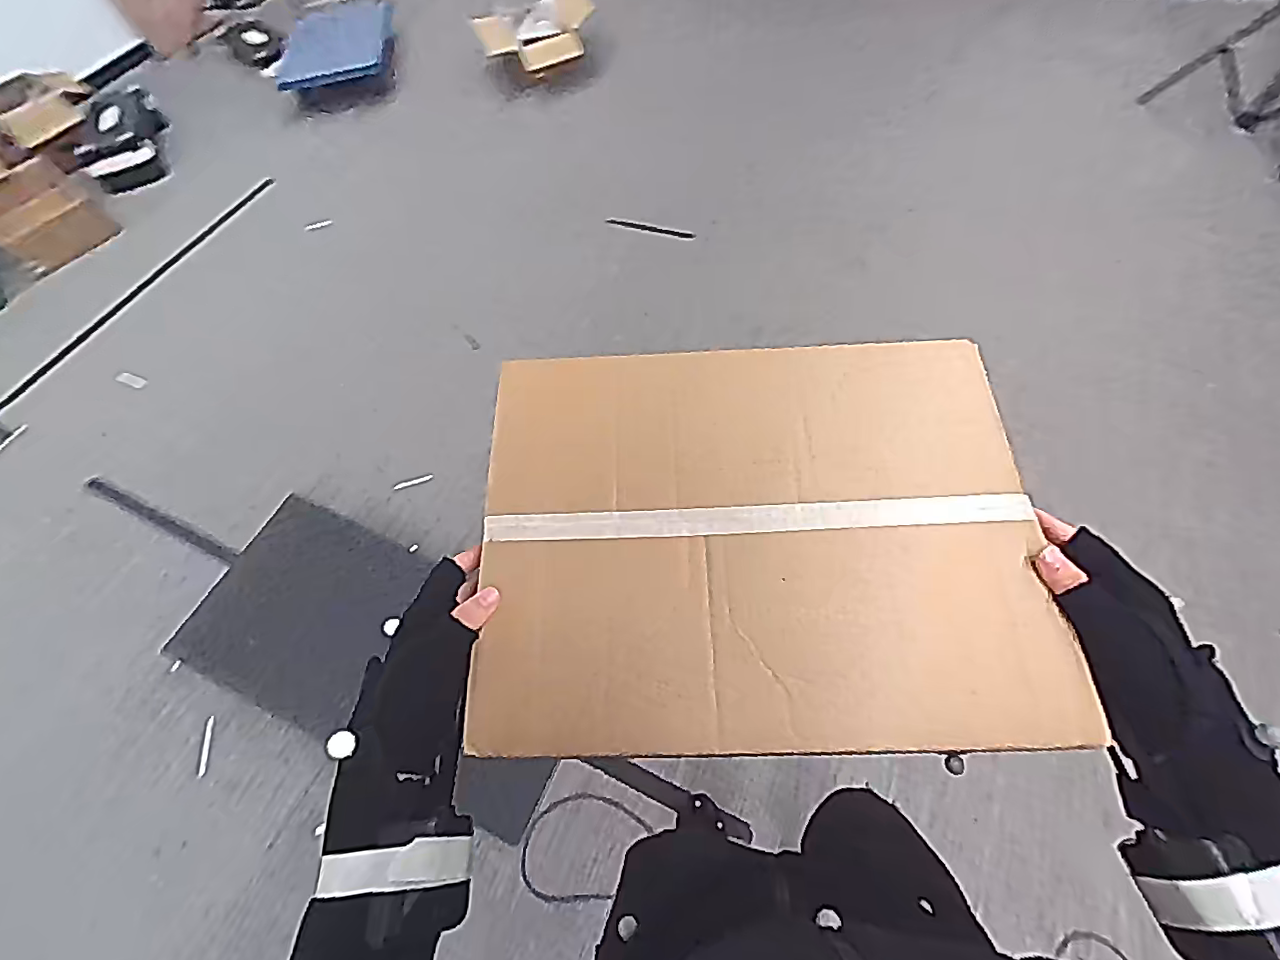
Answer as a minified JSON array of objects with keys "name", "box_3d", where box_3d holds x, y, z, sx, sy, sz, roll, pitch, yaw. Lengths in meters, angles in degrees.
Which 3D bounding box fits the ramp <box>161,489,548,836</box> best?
[{"name":"ramp","box_3d":[-0.642,0.422,1.393,0.991,0.206,0.509,19,63,15]}]

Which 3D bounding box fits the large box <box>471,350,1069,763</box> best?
[{"name":"large box","box_3d":[0.087,0.097,0.551,0.408,0.320,0.320,-3,65,2]}]
